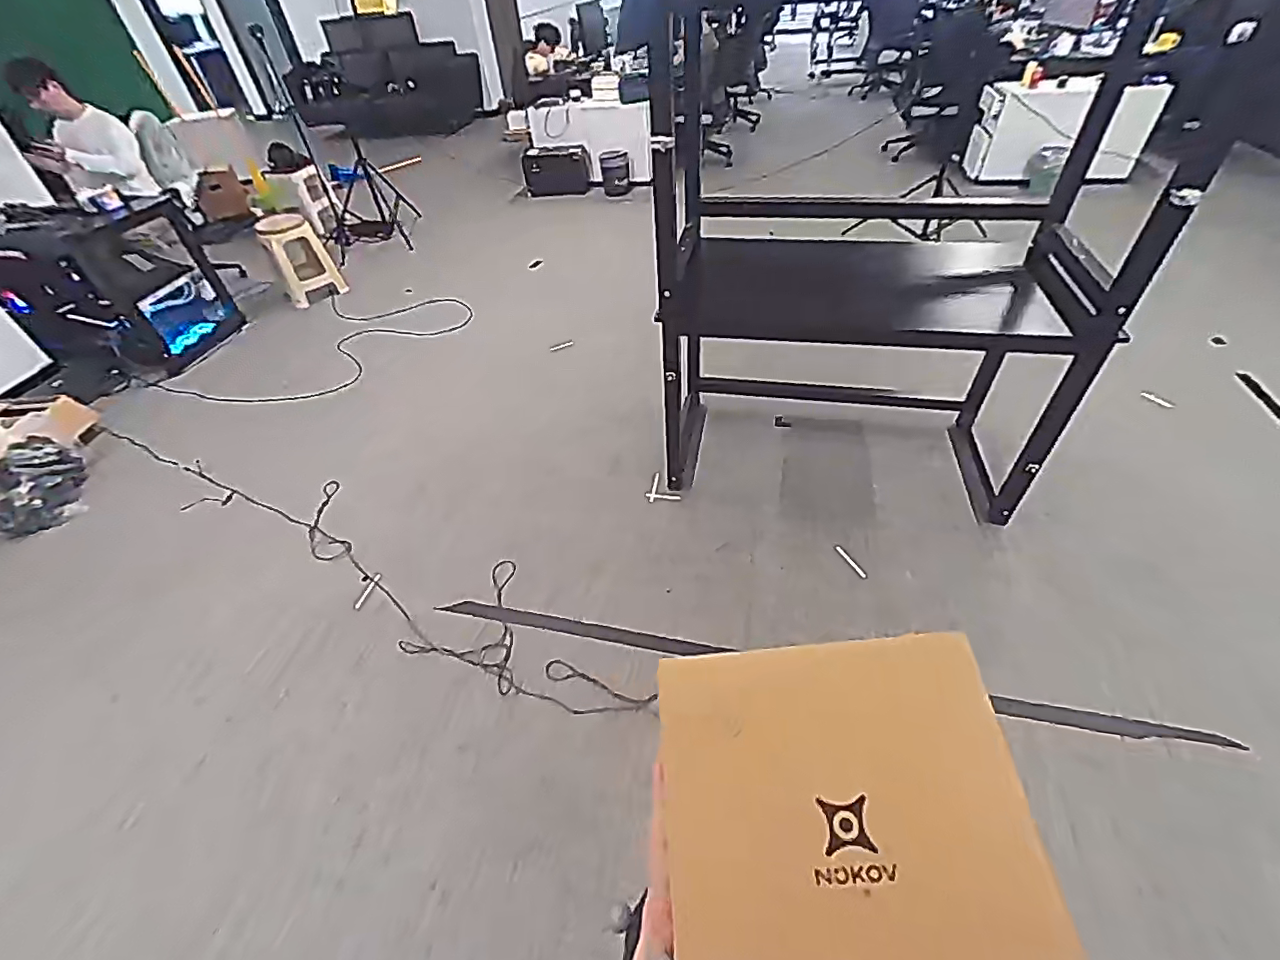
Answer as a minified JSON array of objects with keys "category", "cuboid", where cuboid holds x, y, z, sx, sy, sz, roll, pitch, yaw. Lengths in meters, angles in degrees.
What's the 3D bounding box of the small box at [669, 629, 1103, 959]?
[{"category":"small box","cuboid":[0.108,0.200,0.310,0.168,0.176,0.179,-7,58,5]}]
